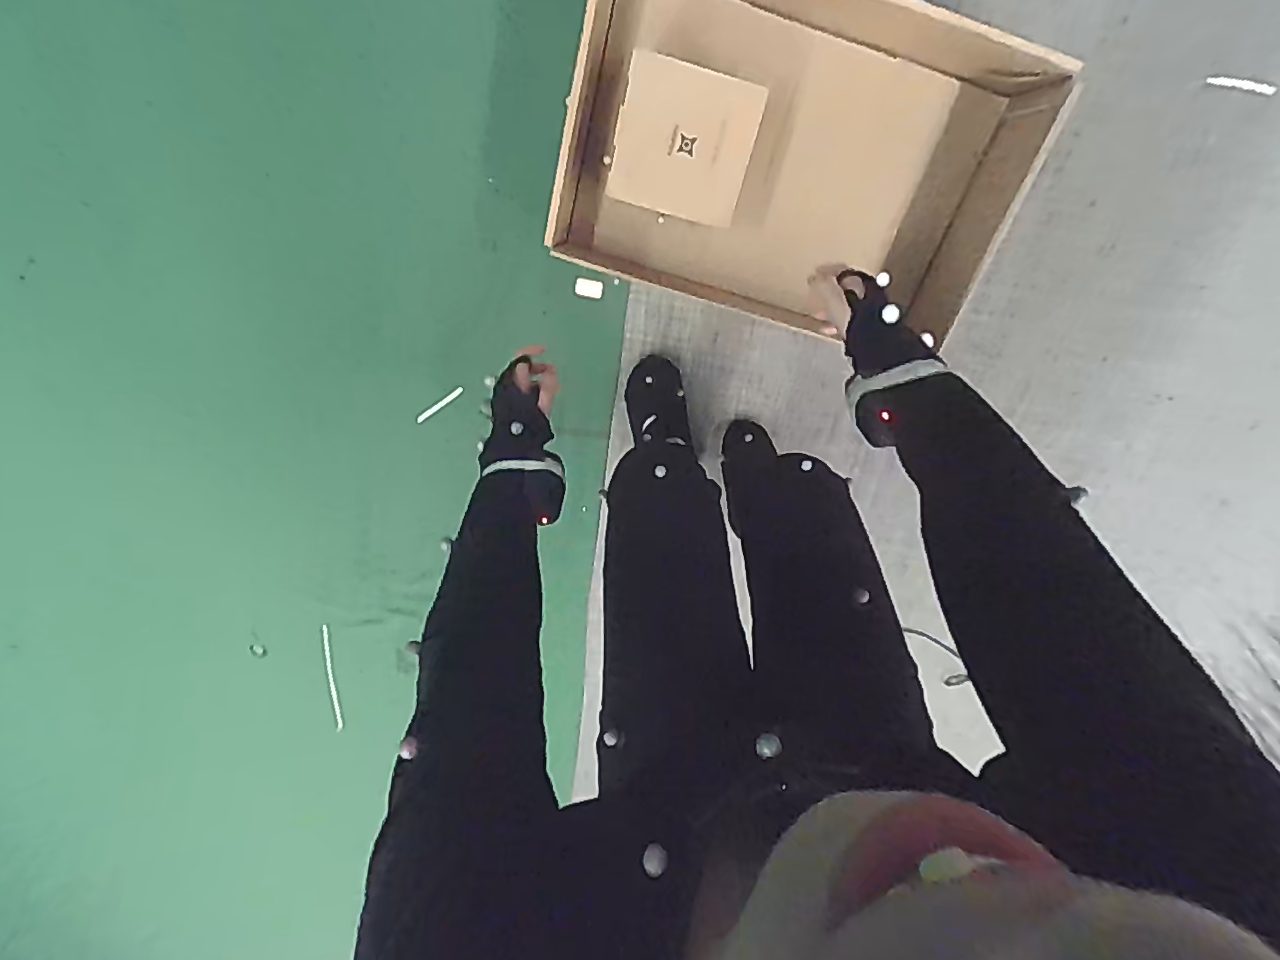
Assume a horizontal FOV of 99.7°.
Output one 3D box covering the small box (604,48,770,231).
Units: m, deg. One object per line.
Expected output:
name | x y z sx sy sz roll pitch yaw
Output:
small box | 0.057 -0.461 0.758 0.179 0.176 0.168 14 117 -6
